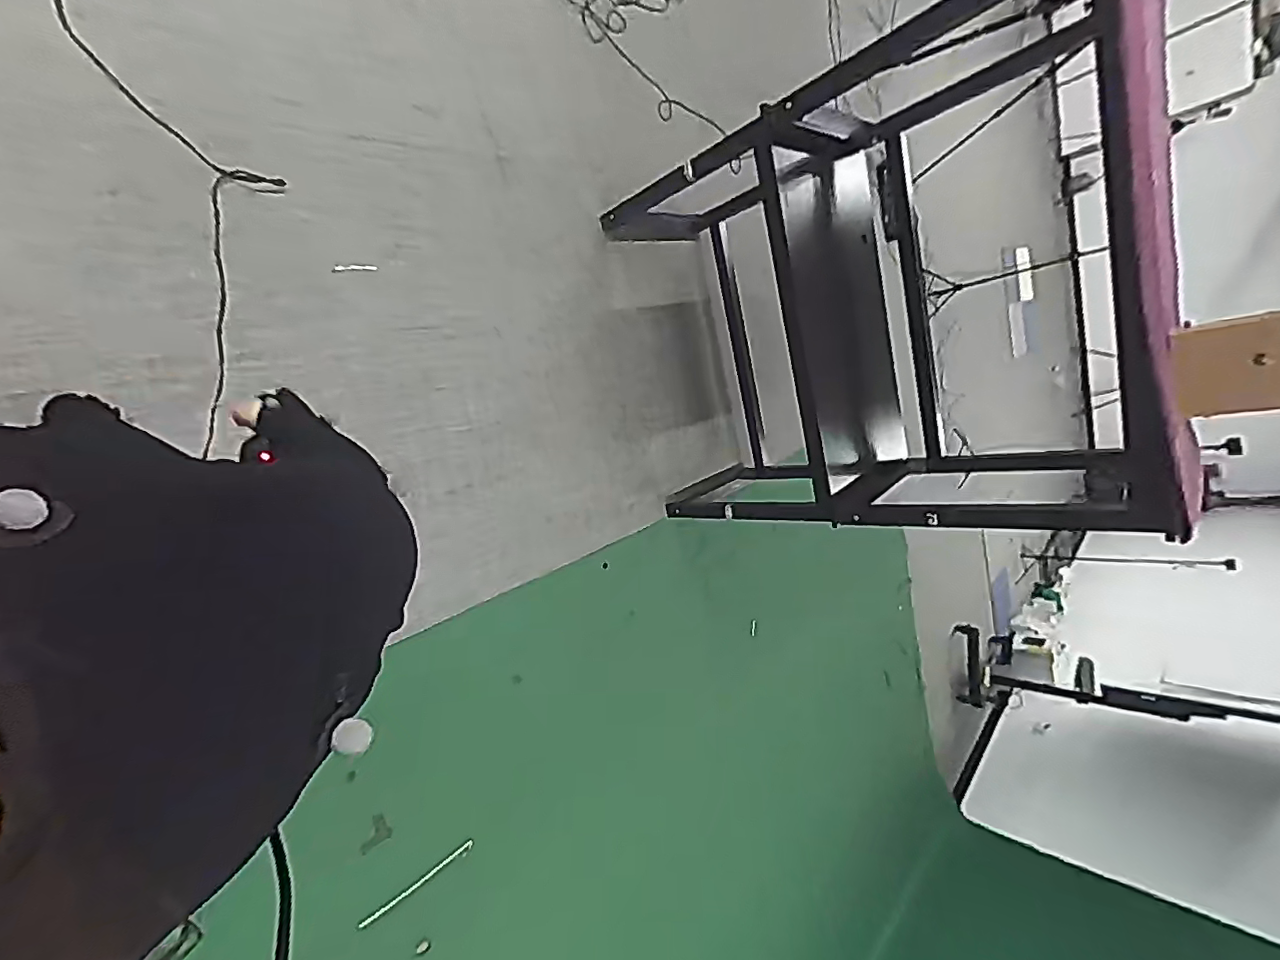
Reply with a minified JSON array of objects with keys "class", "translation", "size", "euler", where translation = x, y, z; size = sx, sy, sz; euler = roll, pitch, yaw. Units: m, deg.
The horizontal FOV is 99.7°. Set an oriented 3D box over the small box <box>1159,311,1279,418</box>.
[{"class":"small box","translation":[1.172,-0.231,1.096],"size":[0.168,0.176,0.179],"euler":[-21,103,-43]}]
